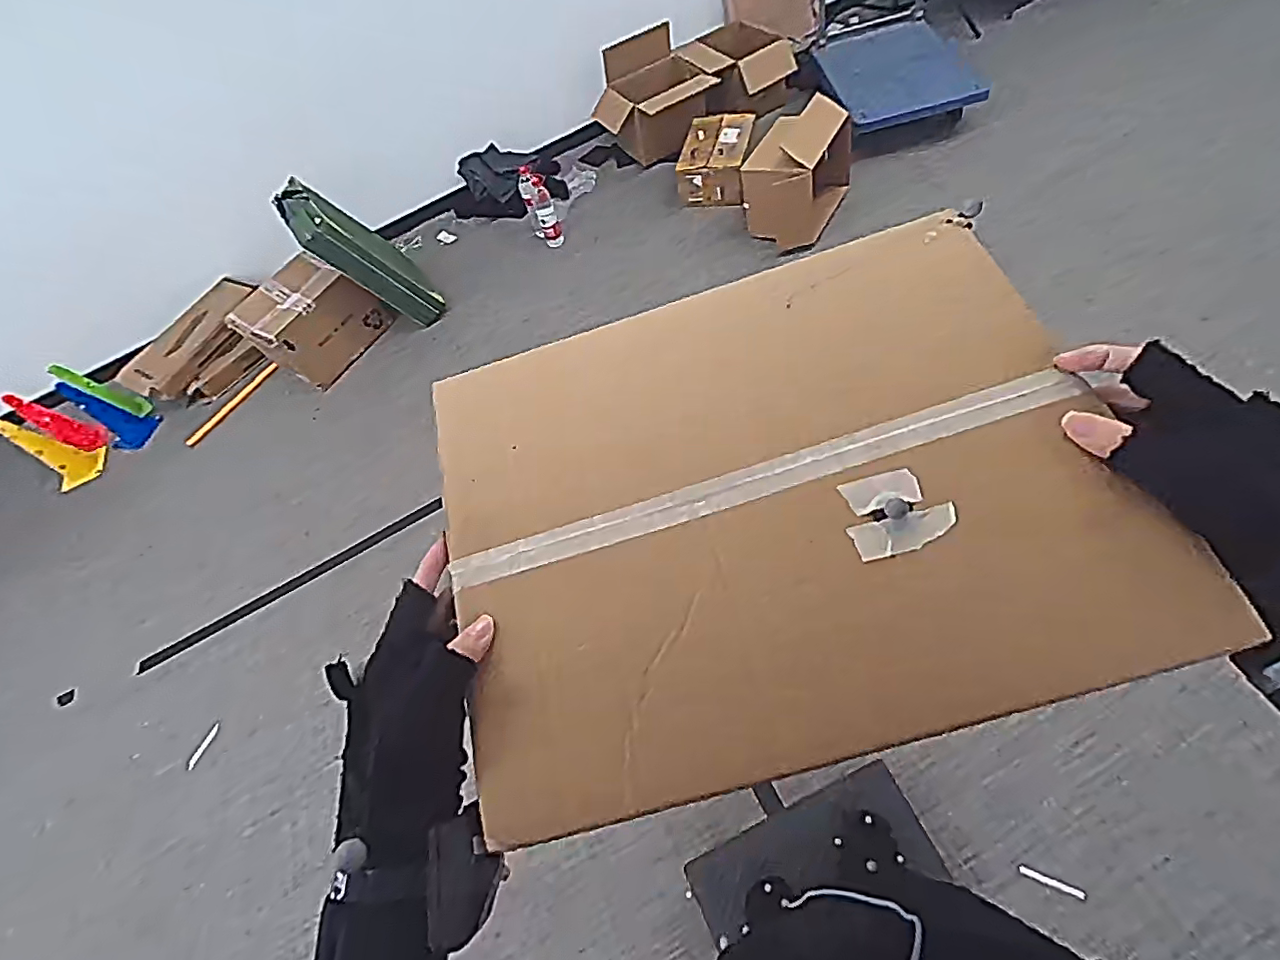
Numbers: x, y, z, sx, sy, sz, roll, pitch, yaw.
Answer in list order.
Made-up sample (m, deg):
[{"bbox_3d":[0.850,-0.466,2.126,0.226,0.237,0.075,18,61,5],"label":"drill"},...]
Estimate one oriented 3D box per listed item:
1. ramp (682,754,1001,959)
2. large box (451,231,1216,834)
[{"bbox_3d":[0.519,1.107,0.981,0.509,0.206,0.991,-28,57,-5],"label":"ramp"},{"bbox_3d":[0.101,0.062,0.488,0.408,0.320,0.320,-18,66,3],"label":"large box"}]
